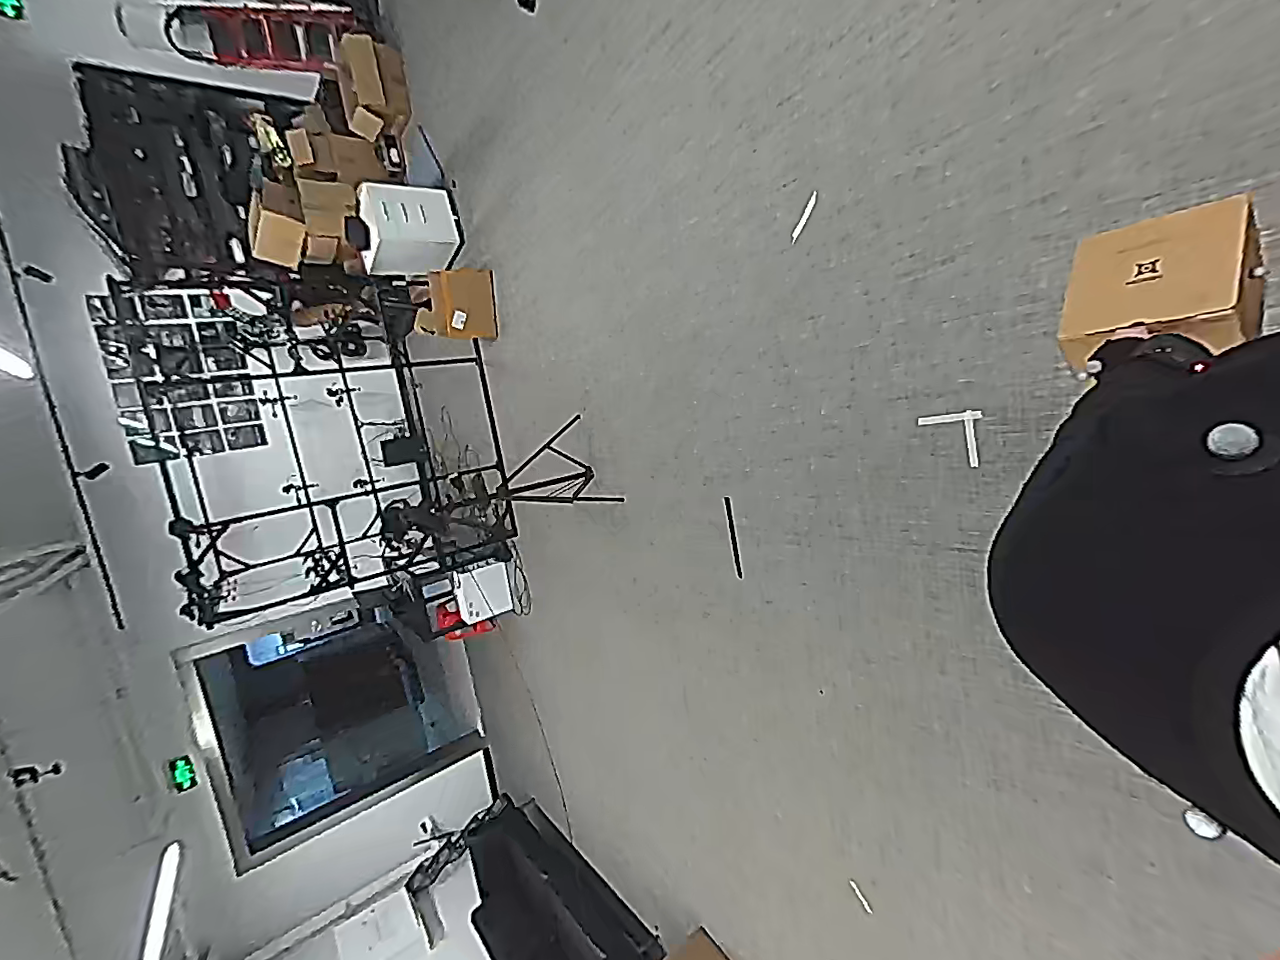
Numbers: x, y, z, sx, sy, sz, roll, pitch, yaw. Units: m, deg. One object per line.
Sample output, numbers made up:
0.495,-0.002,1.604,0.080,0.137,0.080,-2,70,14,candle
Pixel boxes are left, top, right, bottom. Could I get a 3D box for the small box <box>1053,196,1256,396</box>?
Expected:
0.692,-0.226,0.727,0.168,0.176,0.179,1,65,54,small box
